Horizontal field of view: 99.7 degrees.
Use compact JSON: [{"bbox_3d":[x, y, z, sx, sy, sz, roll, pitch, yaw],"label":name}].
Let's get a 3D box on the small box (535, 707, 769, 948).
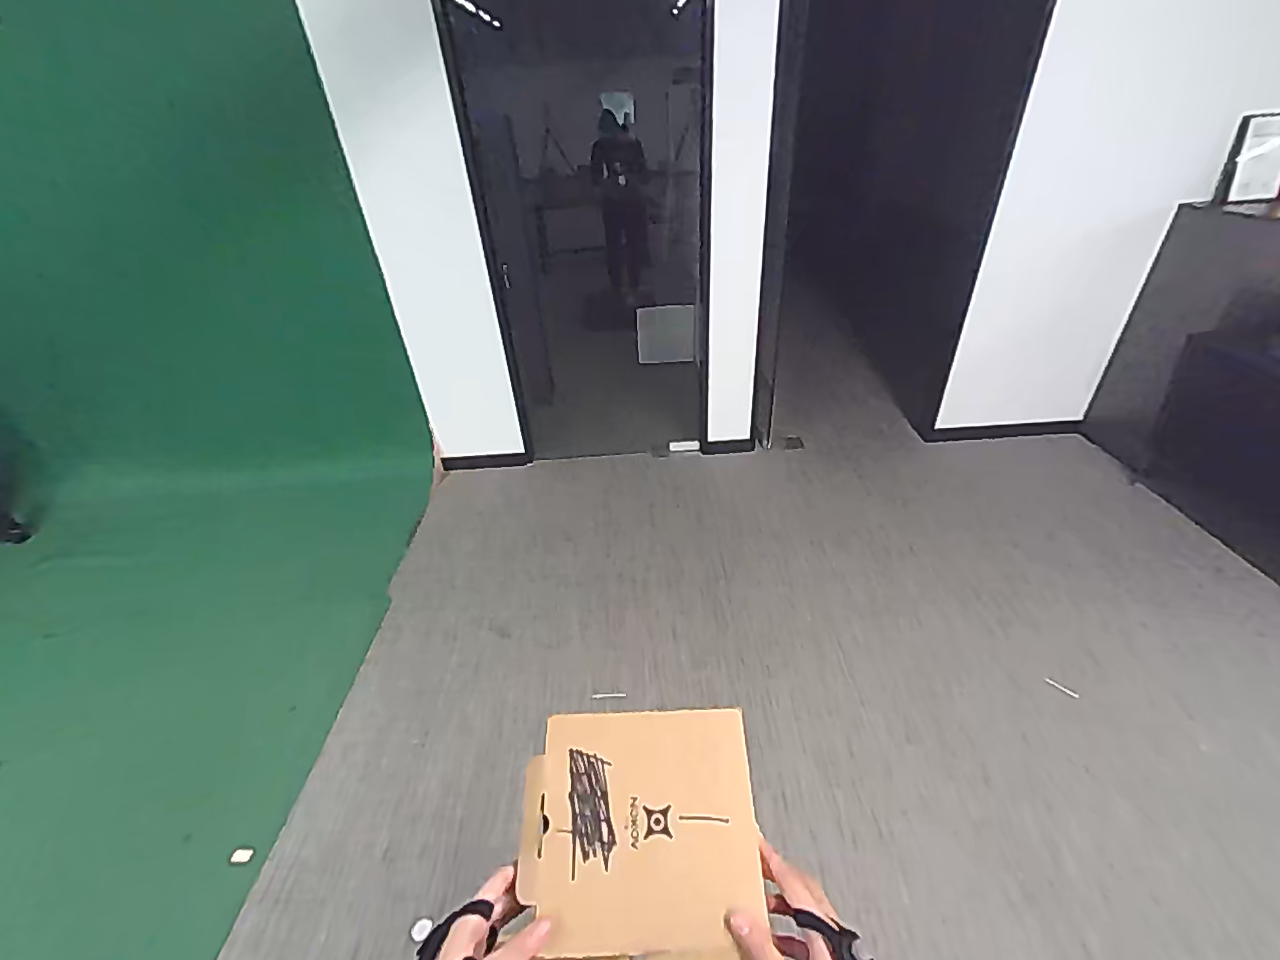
[{"bbox_3d":[0.012,0.318,0.505,0.179,0.176,0.168,-3,56,1],"label":"small box"}]
